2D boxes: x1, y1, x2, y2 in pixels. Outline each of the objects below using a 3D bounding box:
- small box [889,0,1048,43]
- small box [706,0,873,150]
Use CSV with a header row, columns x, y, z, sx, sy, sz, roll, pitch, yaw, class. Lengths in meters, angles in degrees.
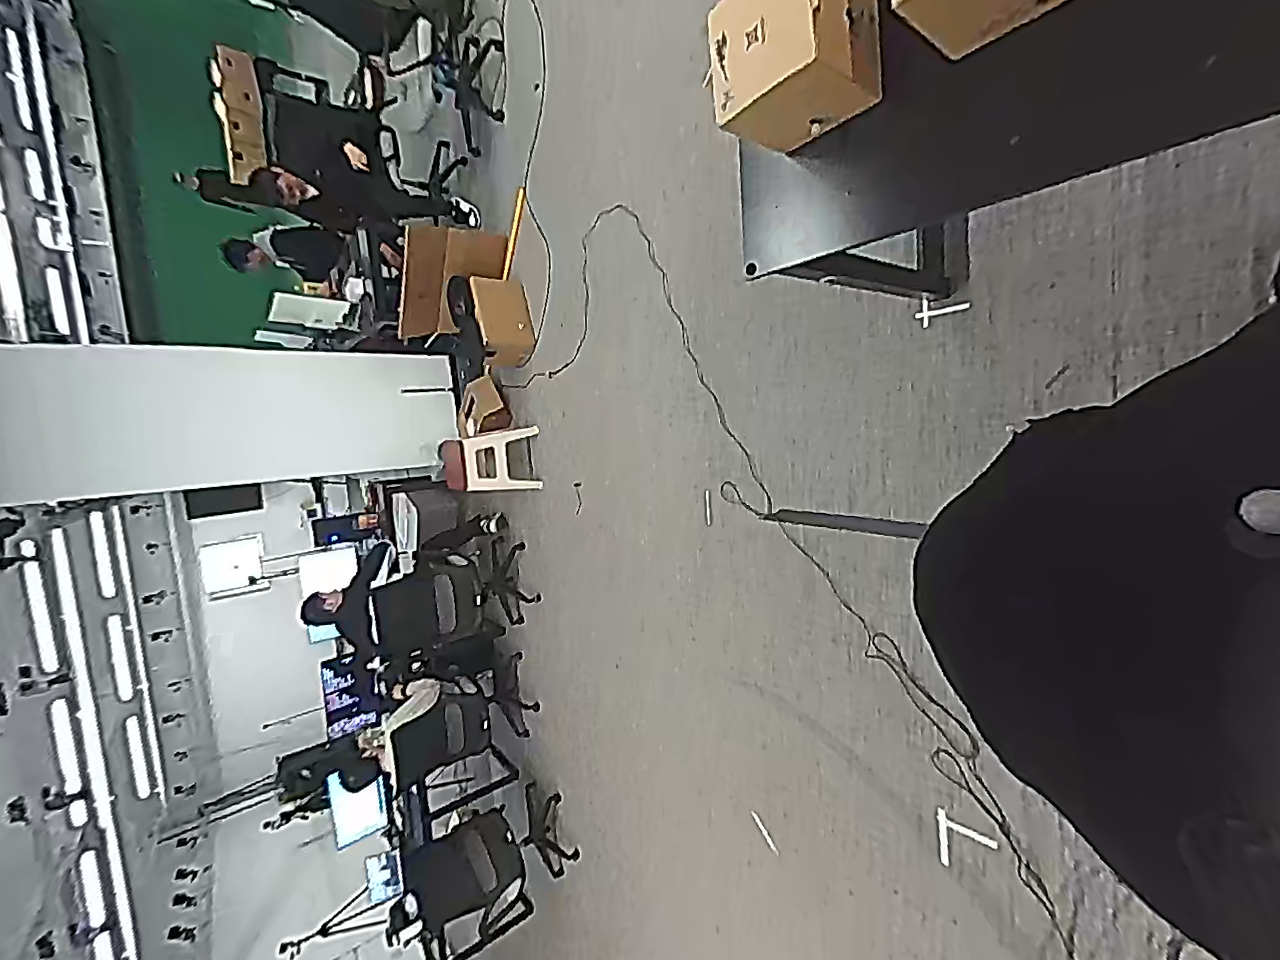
x,y,z,sx,sy,sz,roll,pitch,yaw,class
0.384,-0.619,0.580,0.168,0.176,0.179,2,97,51,small box
0.221,-0.619,0.785,0.179,0.176,0.168,0,96,51,small box
